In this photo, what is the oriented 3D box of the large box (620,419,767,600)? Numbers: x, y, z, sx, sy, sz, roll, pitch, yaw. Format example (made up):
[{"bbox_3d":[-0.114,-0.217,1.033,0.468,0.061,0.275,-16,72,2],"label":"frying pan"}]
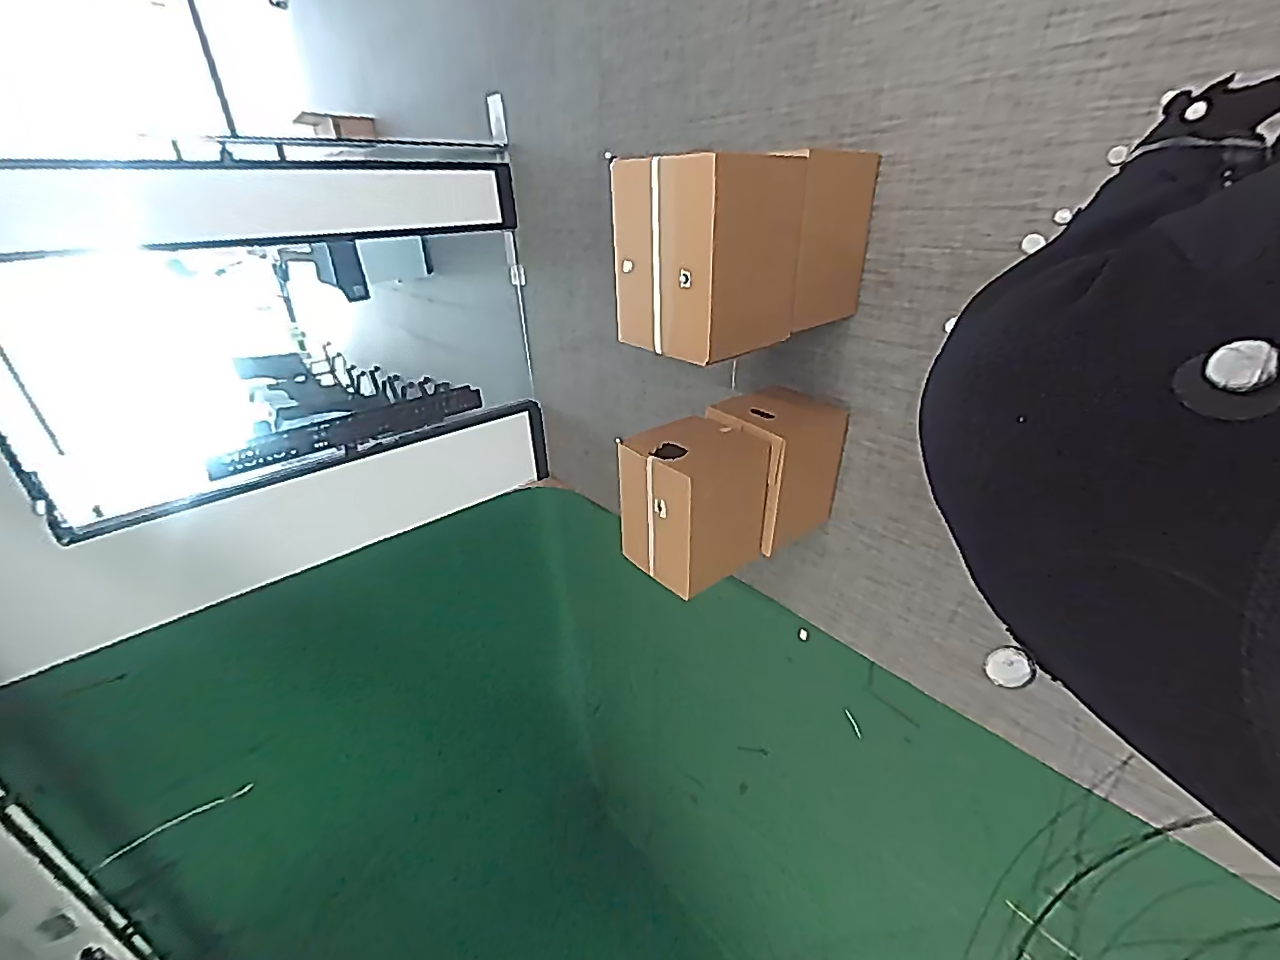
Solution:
[{"bbox_3d":[0.154,0.072,1.624,0.320,0.320,0.408,31,130,45],"label":"large box"}]
